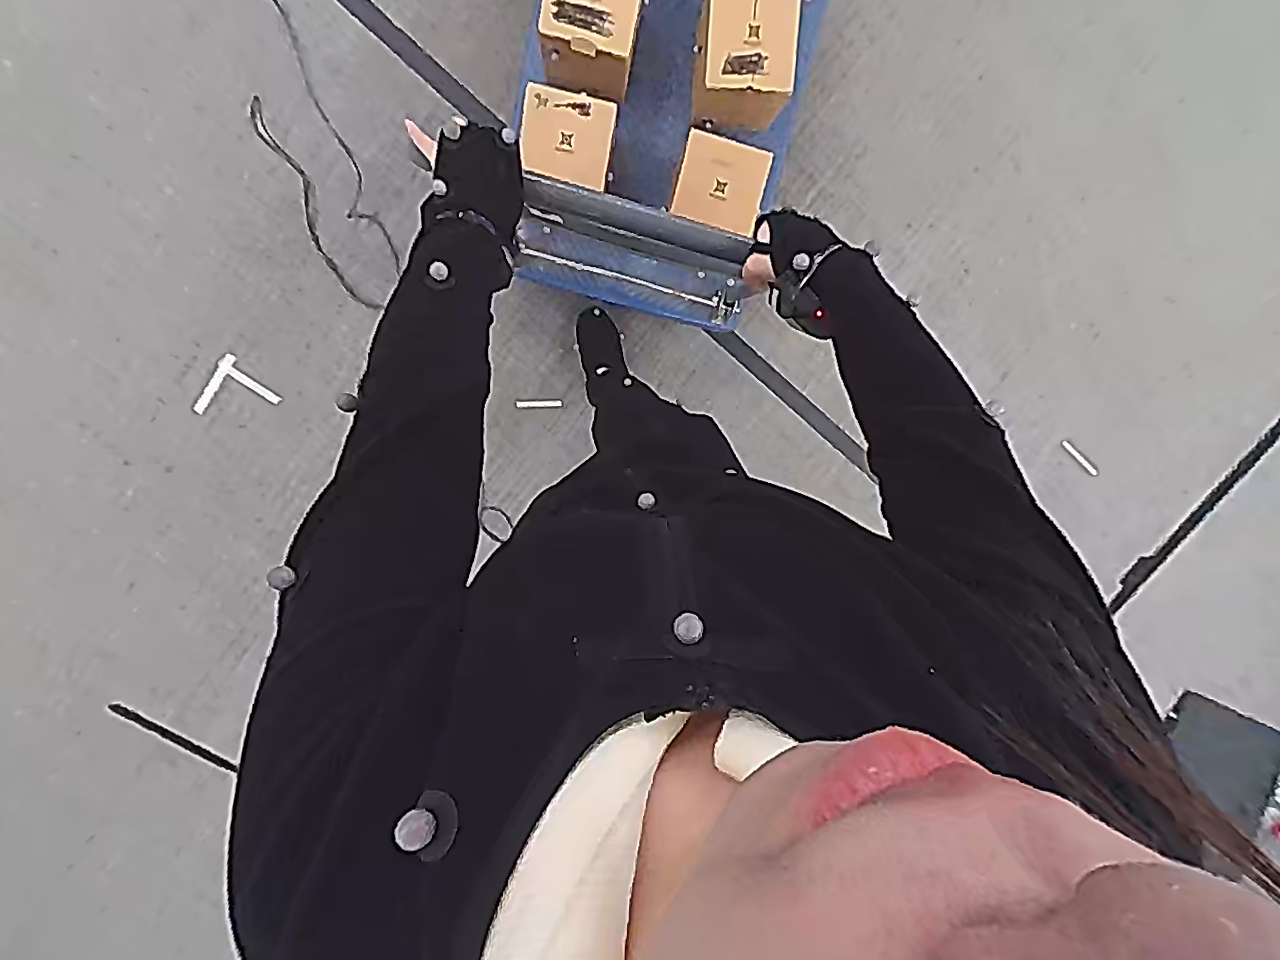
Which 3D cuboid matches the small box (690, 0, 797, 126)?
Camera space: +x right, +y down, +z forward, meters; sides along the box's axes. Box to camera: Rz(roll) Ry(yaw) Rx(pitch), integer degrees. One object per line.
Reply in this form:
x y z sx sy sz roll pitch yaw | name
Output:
0.193 -0.823 1.056 0.168 0.176 0.179 1 101 -5 | small box

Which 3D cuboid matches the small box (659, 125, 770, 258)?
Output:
0.142 -0.575 1.106 0.168 0.176 0.179 14 100 -8 | small box

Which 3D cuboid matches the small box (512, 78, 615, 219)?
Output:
-0.147 -0.637 1.067 0.168 0.176 0.179 10 102 -8 | small box
